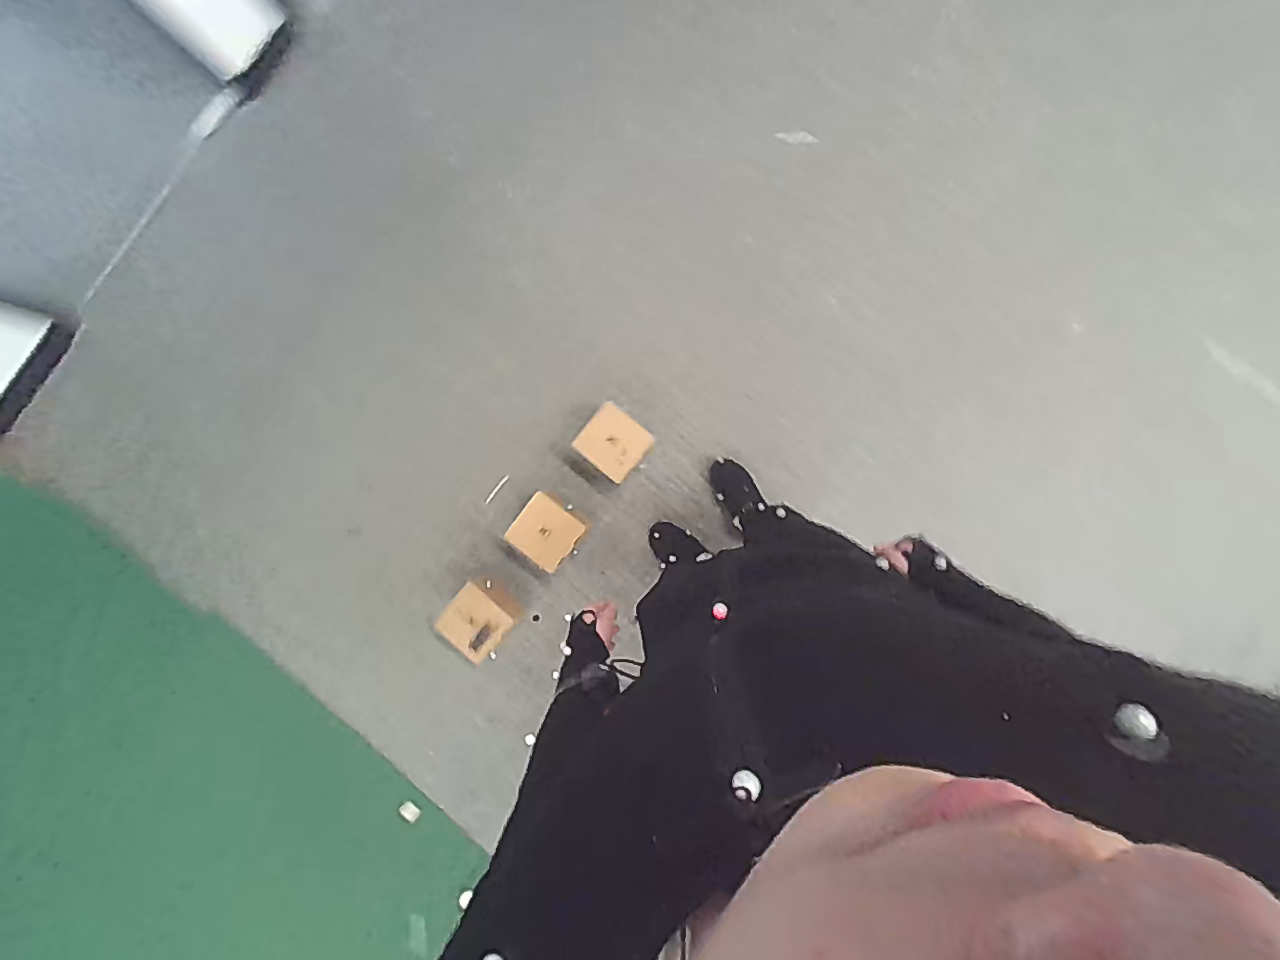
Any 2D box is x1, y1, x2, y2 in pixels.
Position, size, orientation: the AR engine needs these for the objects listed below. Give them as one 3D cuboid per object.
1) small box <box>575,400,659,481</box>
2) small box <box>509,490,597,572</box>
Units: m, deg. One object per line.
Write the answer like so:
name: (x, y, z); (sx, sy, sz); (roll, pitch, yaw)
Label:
small box: (-0.061, -0.106, 1.578); (0.179, 0.176, 0.168); (40, 92, 4)
small box: (-0.248, 0.147, 1.590); (0.179, 0.176, 0.168); (37, 91, 3)
